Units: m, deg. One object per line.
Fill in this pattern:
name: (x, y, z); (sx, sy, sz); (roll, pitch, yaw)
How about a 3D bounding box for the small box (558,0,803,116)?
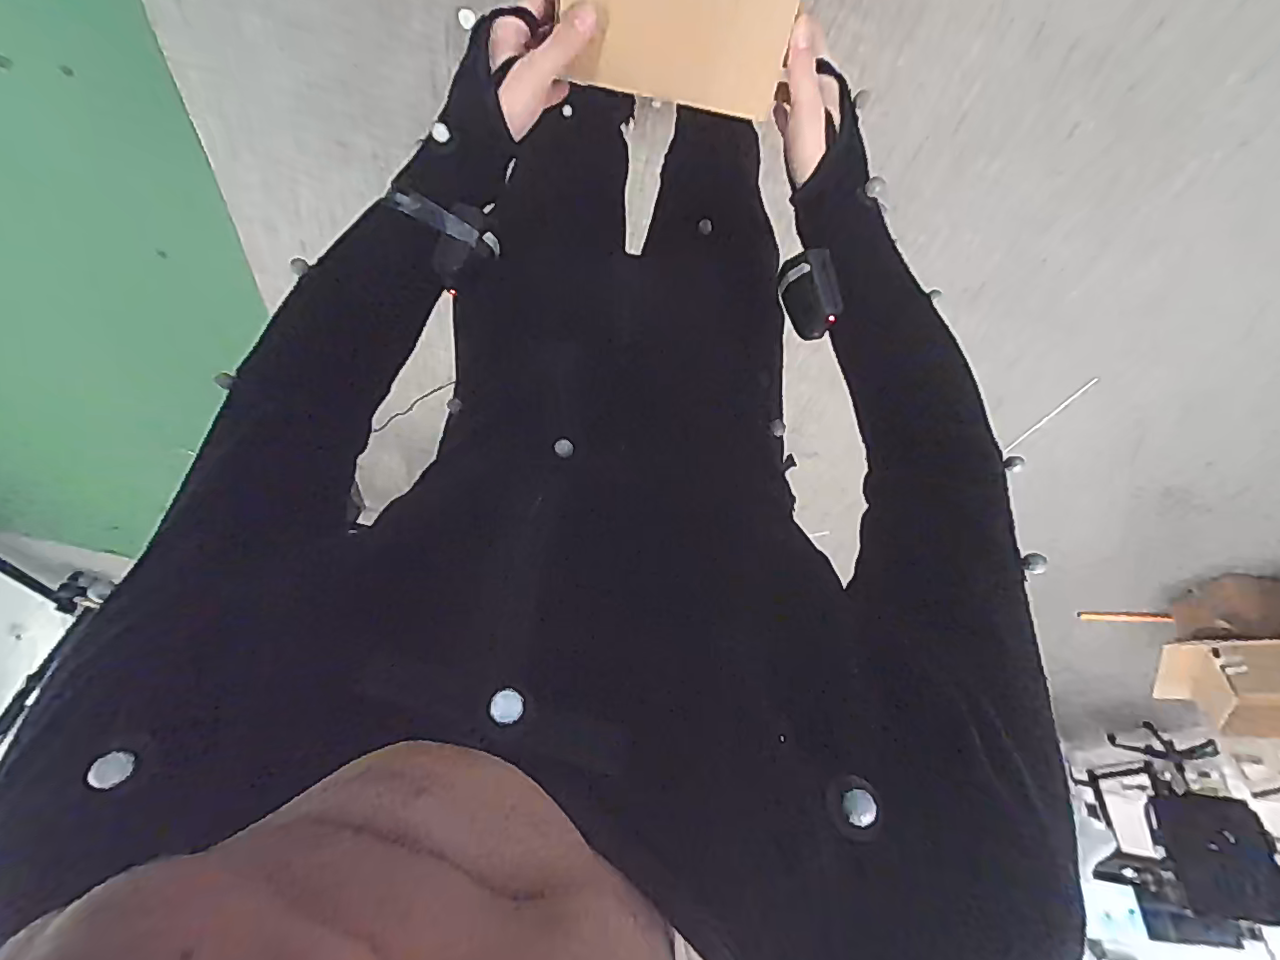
small box: (0.041, -0.420, 0.433); (0.179, 0.176, 0.168); (10, 134, -3)
